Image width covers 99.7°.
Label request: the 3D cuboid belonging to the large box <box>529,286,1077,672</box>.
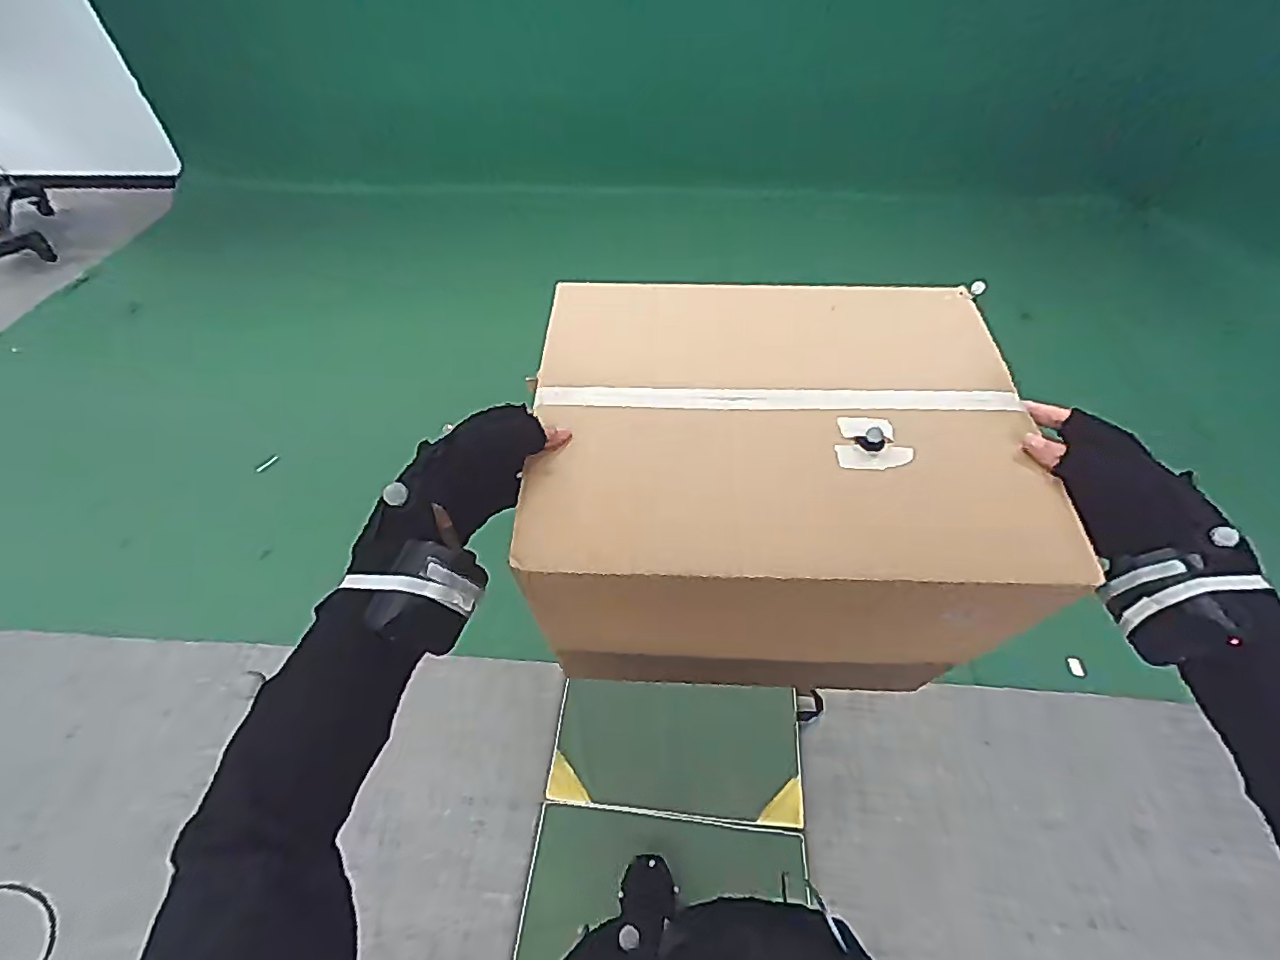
[{"bbox_3d":[0.117,0.014,0.591,0.408,0.320,0.320,2,57,1],"label":"large box"}]
